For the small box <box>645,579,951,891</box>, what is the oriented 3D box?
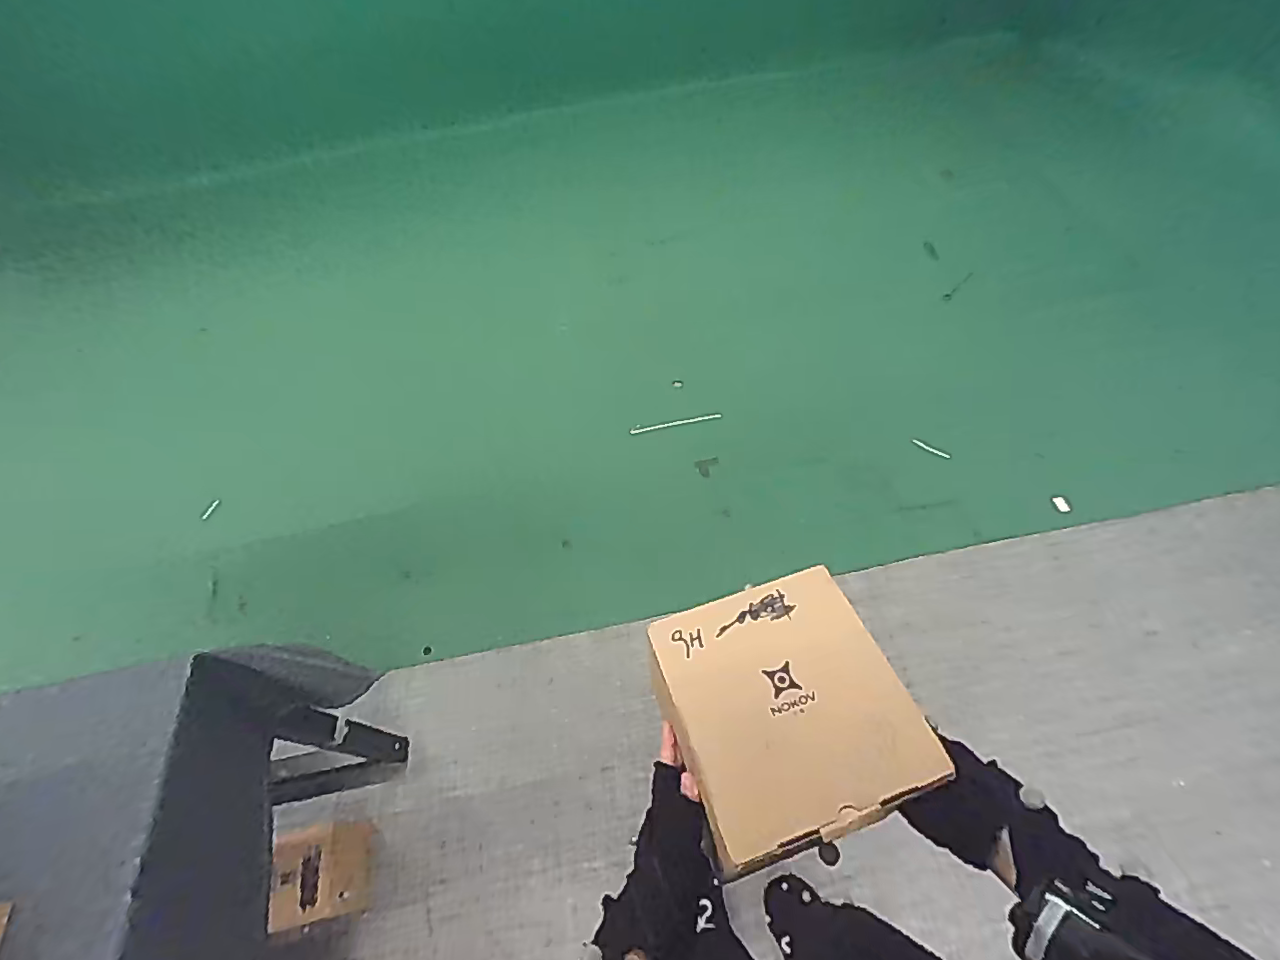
[{"bbox_3d":[0.110,0.217,0.459,0.168,0.176,0.179,-15,52,-9],"label":"small box"}]
